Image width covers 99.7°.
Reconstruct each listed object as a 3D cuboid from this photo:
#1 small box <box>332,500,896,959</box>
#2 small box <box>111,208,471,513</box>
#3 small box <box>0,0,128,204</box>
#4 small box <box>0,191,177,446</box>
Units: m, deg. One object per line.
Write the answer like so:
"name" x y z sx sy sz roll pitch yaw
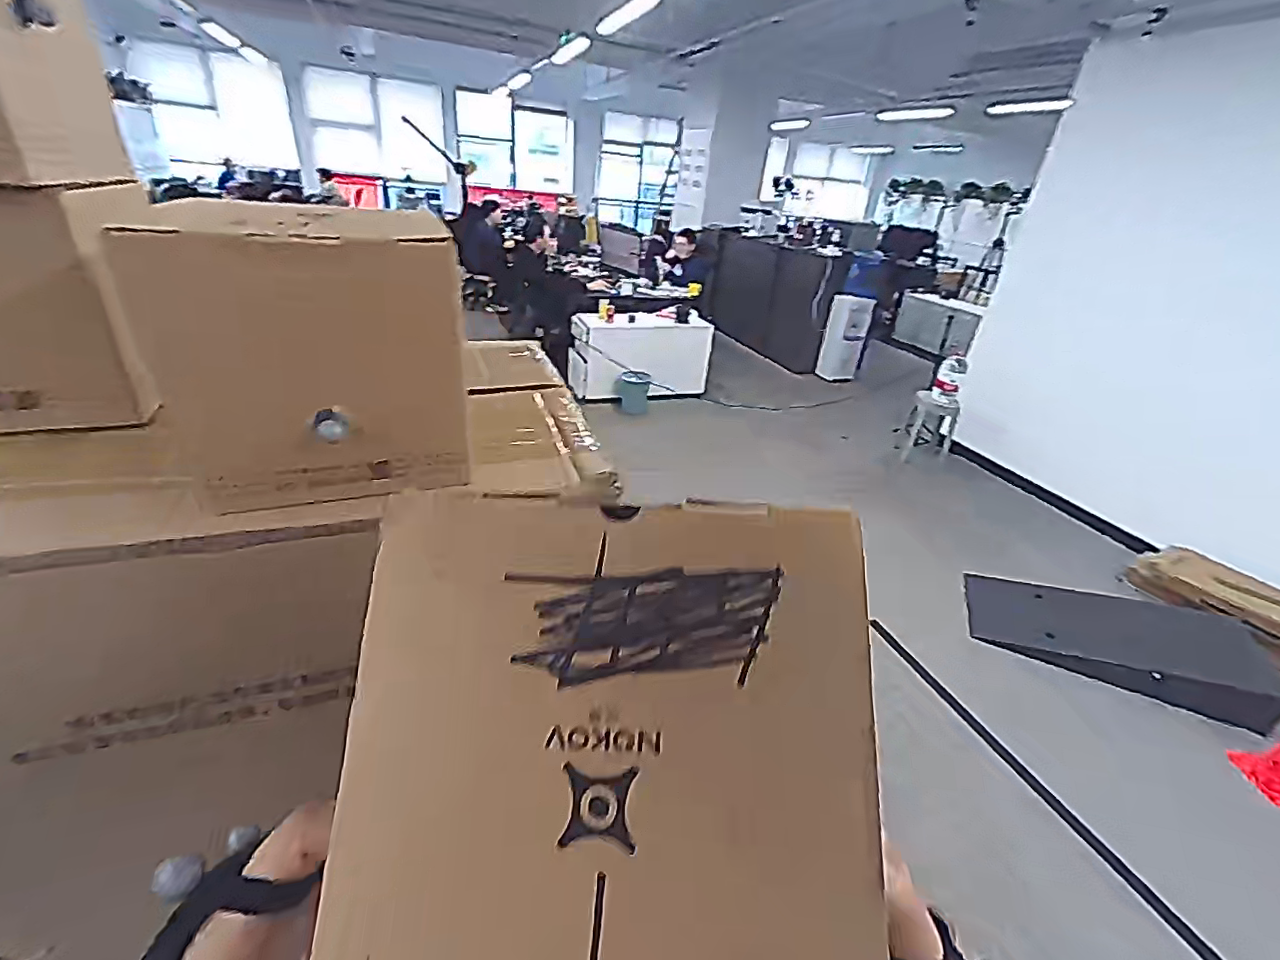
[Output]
"small box" -0.003 0.116 0.247 0.168 0.179 0.176 2 -15 4
"small box" -0.224 -0.096 0.400 0.168 0.176 0.179 -8 32 -21
"small box" -0.470 -0.272 0.334 0.168 0.176 0.179 -7 31 -23
"small box" -0.488 -0.135 0.424 0.168 0.176 0.179 -9 32 -24
